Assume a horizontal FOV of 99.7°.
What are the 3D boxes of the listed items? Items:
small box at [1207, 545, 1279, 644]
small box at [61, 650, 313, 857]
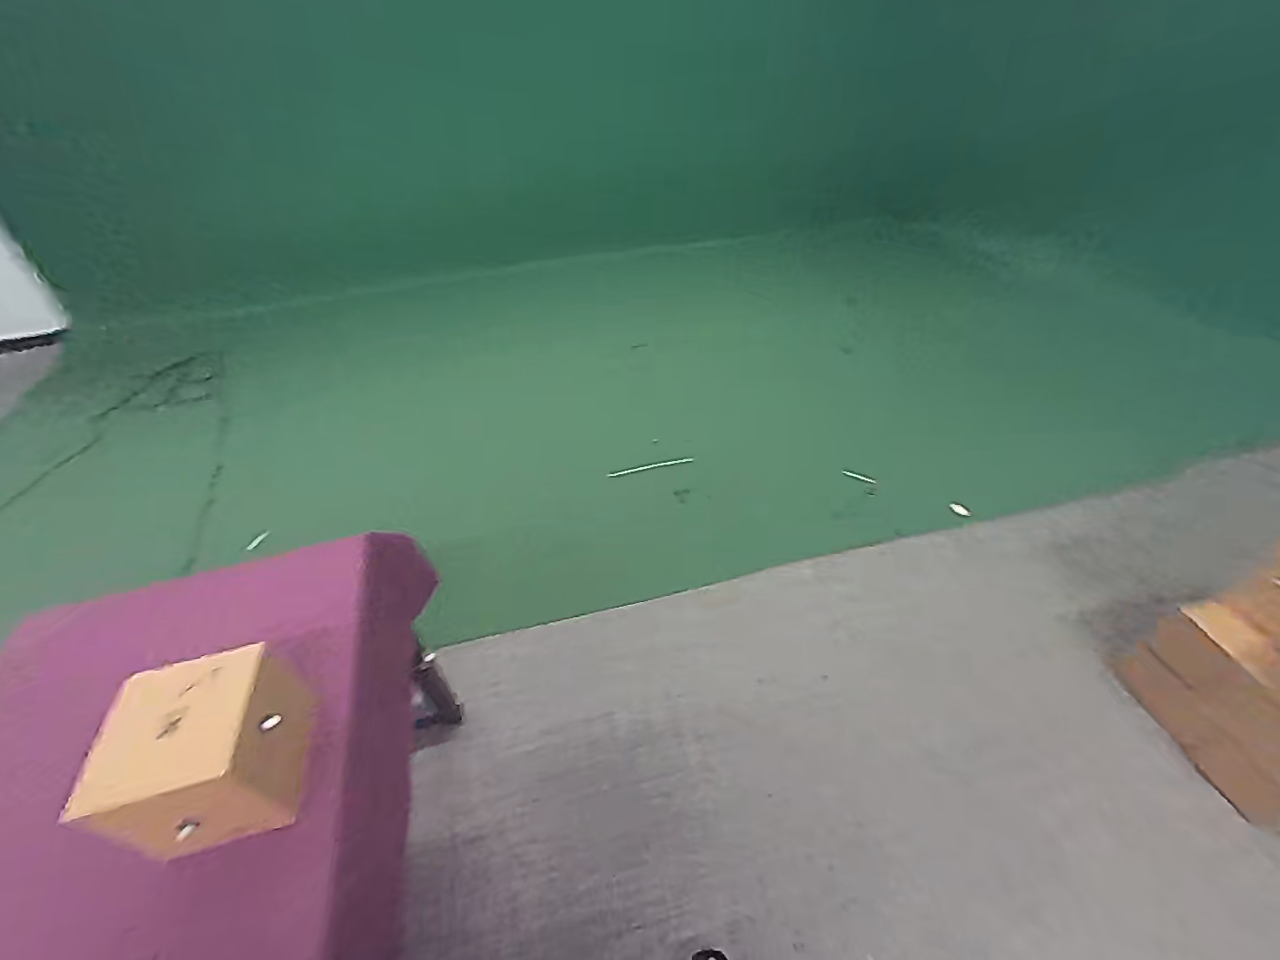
[{"bbox_3d":[1.501,0.254,1.249,0.179,0.176,0.168,-9,42,-8],"label":"small box"},{"bbox_3d":[-0.554,0.357,0.699,0.168,0.176,0.179,-13,43,-9],"label":"small box"}]
